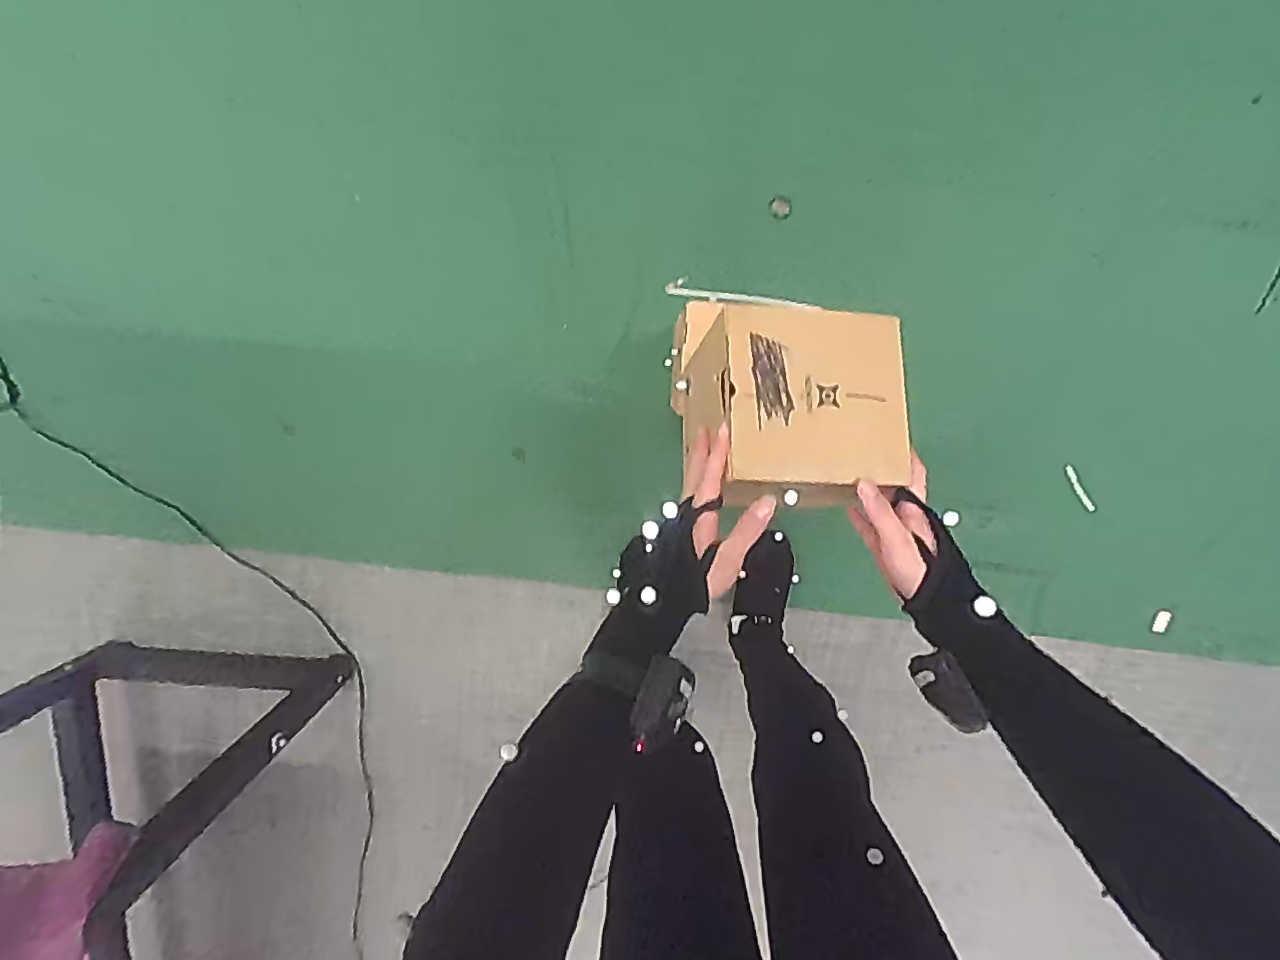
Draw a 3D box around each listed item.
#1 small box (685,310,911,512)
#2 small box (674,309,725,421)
[{"bbox_3d":[0.147,-0.058,0.566,0.179,0.176,0.168,2,80,-9],"label":"small box"},{"bbox_3d":[0.151,-0.179,0.878,0.179,0.176,0.168,4,101,1],"label":"small box"}]
